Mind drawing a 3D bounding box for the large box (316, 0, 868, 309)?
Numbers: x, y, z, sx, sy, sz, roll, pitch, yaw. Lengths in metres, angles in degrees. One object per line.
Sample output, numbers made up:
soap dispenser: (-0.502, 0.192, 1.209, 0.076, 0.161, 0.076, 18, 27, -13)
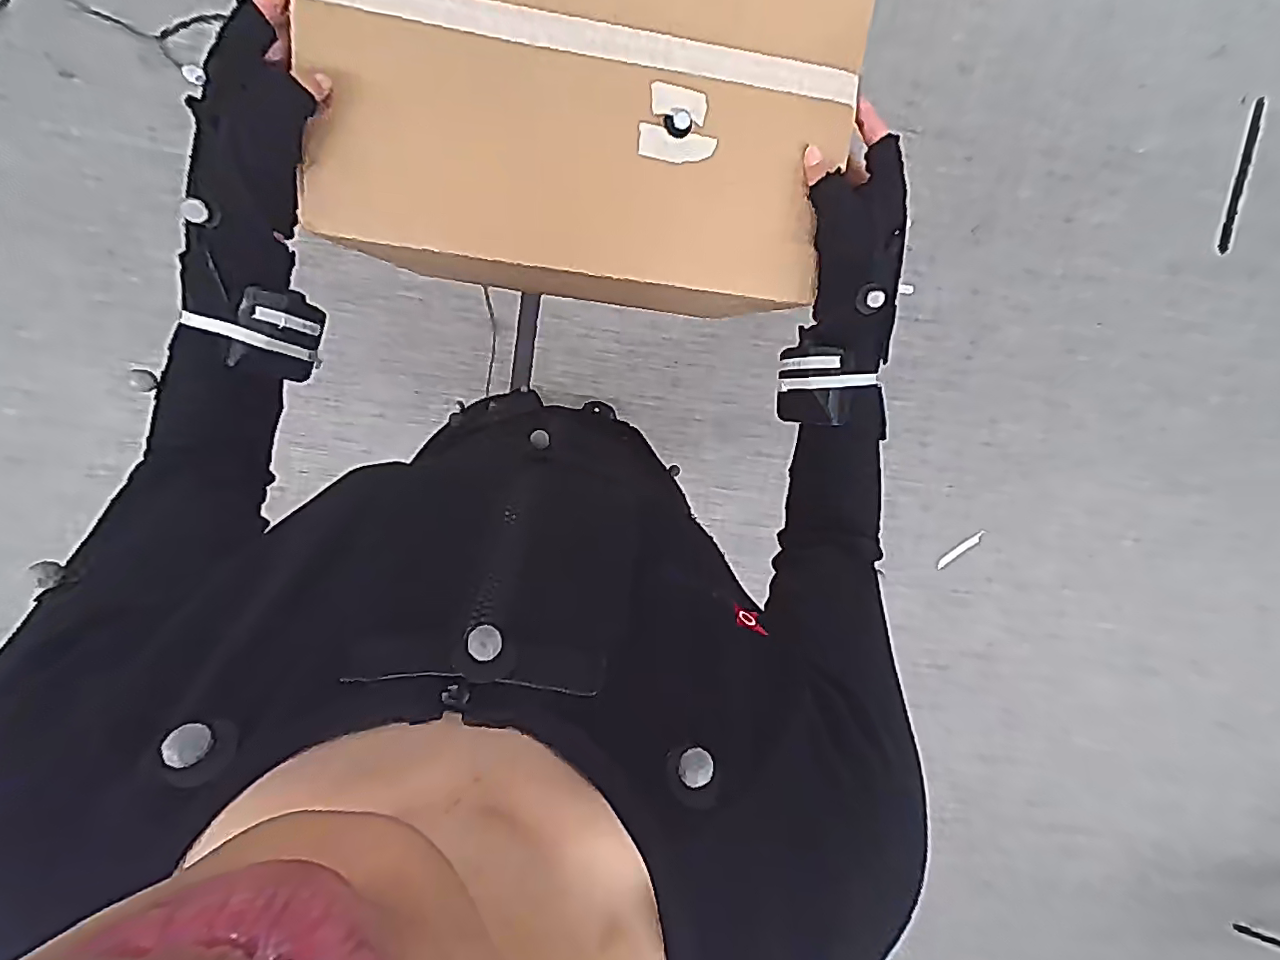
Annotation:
large box: (-0.048, -0.359, 0.543, 0.408, 0.320, 0.320, 5, 105, -9)
